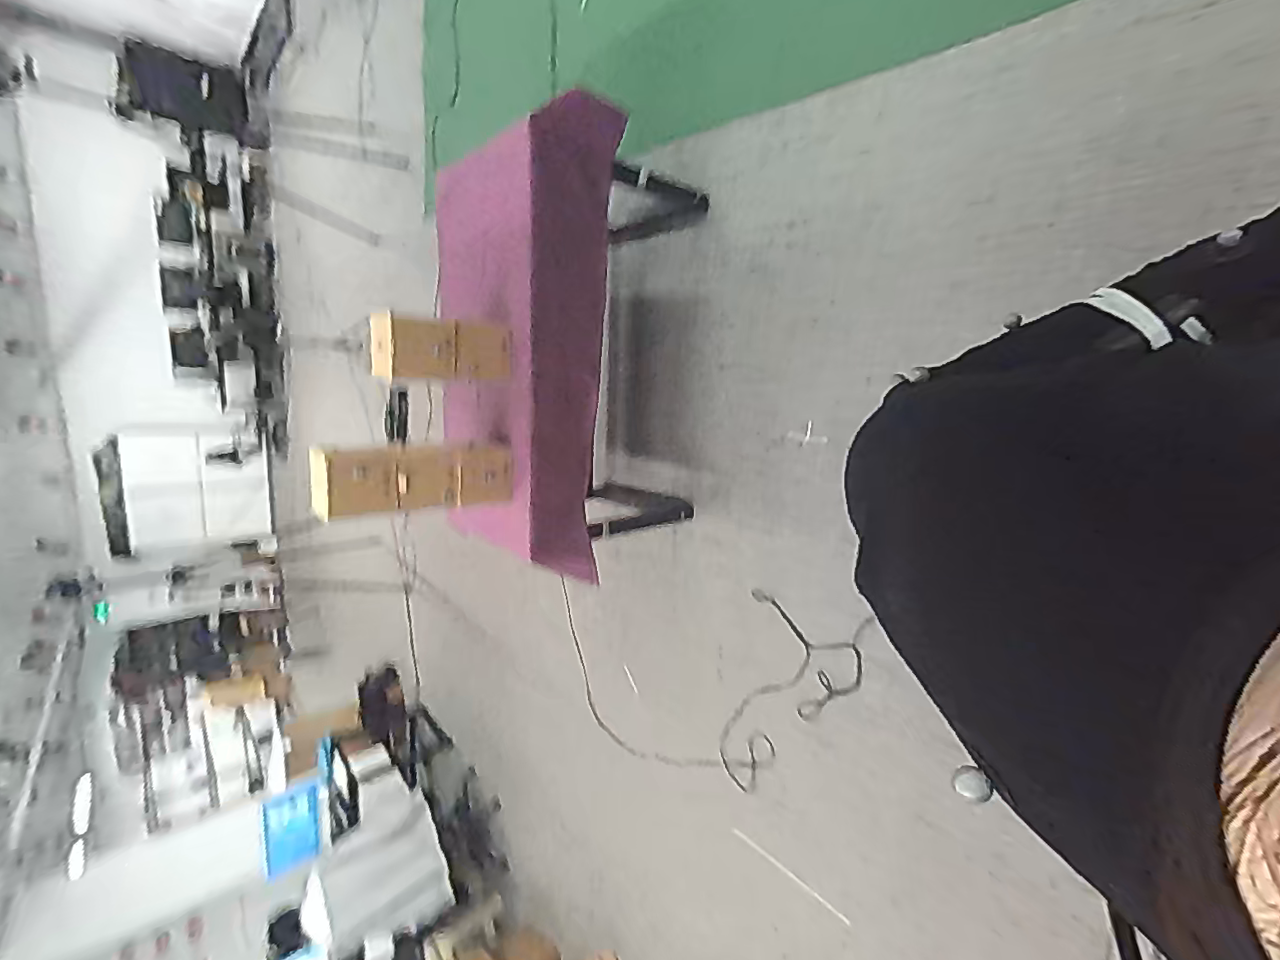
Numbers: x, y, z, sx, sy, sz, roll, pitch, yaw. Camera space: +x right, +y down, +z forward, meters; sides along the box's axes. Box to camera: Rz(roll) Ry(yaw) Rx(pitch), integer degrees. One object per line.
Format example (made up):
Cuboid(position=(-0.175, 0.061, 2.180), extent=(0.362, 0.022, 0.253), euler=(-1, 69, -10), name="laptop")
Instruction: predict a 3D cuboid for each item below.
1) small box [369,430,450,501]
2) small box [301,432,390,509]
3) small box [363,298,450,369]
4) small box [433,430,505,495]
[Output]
Cuboid(position=(-0.646, -0.048, 1.521), extent=(0.179, 0.176, 0.168), euler=(18, 109, 46), name="small box")
Cuboid(position=(-0.763, -0.033, 1.409), extent=(0.179, 0.176, 0.168), euler=(15, 106, 46), name="small box")
Cuboid(position=(-0.629, -0.391, 1.452), extent=(0.179, 0.176, 0.168), euler=(20, 110, 44), name="small box")
Cuboid(position=(-0.520, -0.060, 1.627), extent=(0.179, 0.176, 0.168), euler=(16, 106, 44), name="small box")
